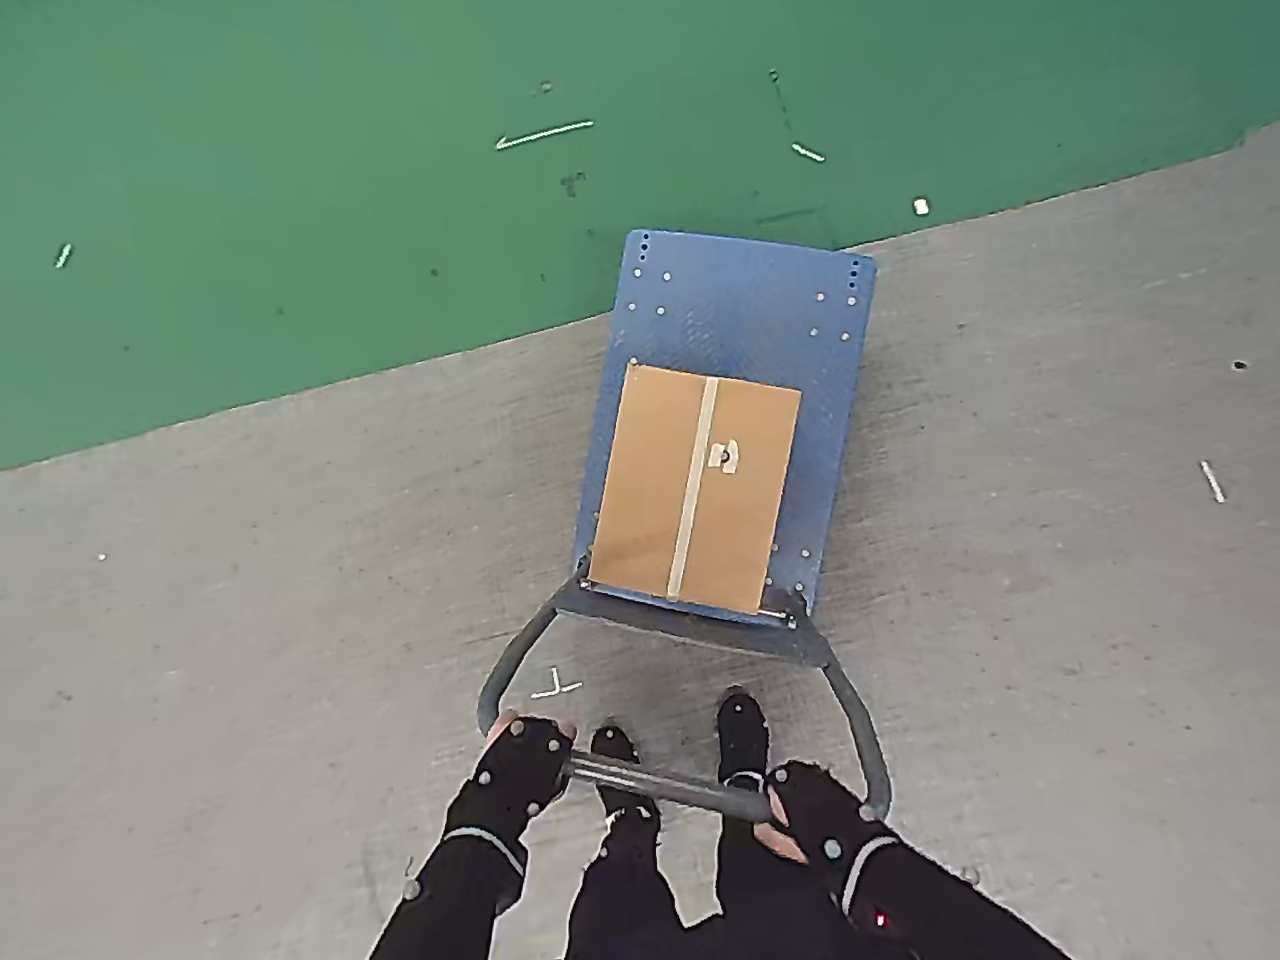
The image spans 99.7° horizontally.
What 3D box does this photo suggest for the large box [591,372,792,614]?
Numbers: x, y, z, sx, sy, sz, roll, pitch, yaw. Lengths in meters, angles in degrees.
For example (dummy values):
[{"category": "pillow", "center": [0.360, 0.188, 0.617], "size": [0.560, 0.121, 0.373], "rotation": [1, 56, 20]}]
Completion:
[{"category": "large box", "center": [0.107, 0.023, 1.122], "size": [0.320, 0.320, 0.408], "rotation": [11, 91, 6]}]
